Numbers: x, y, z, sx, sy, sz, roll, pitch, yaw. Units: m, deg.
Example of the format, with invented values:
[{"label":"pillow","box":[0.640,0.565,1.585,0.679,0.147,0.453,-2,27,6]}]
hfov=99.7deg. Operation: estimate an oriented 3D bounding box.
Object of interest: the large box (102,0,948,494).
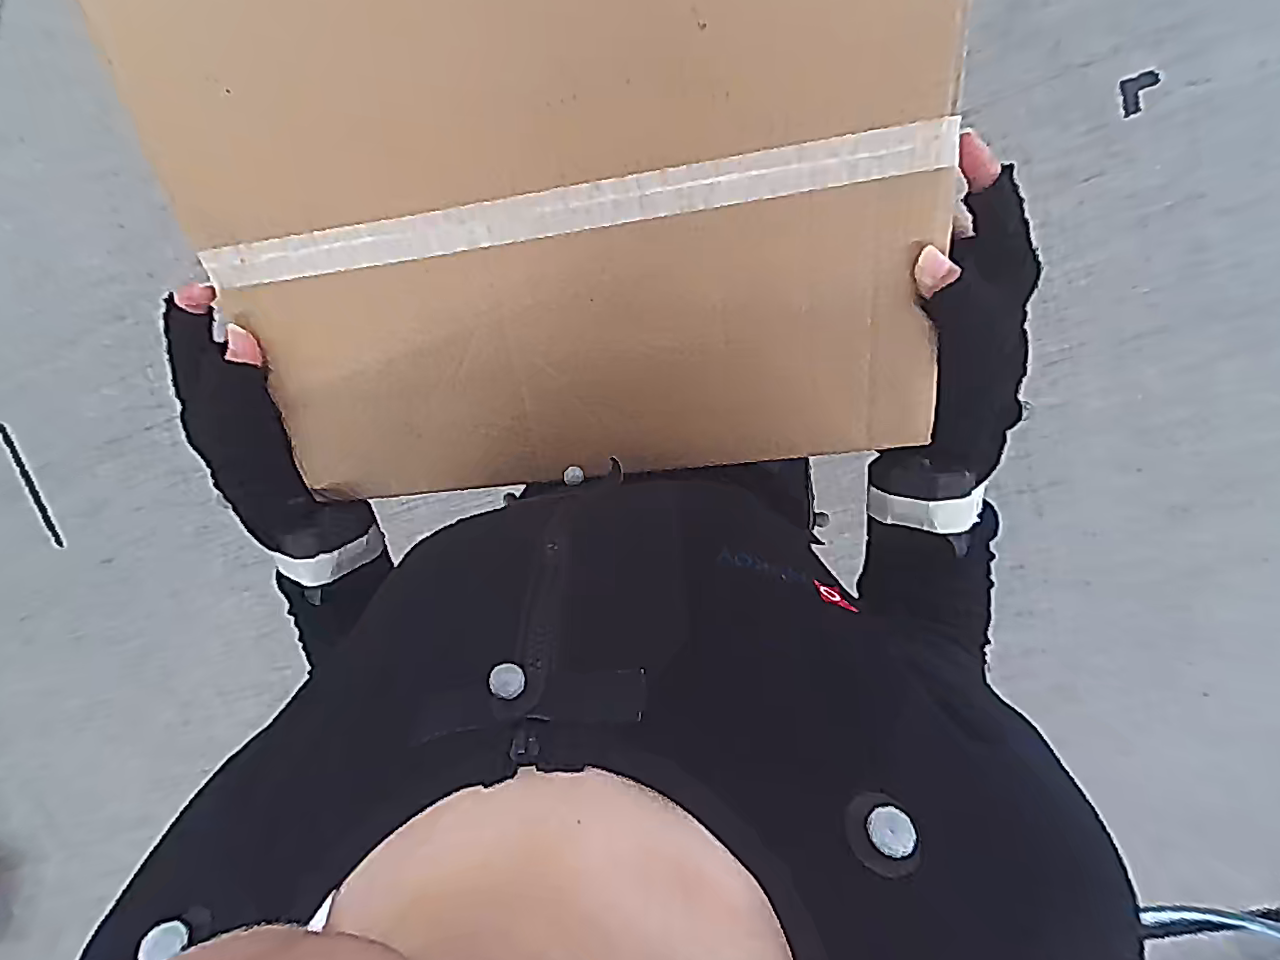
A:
[{"label":"large box","box":[-0.036,-0.214,0.424,0.408,0.320,0.320,-6,116,8]}]
